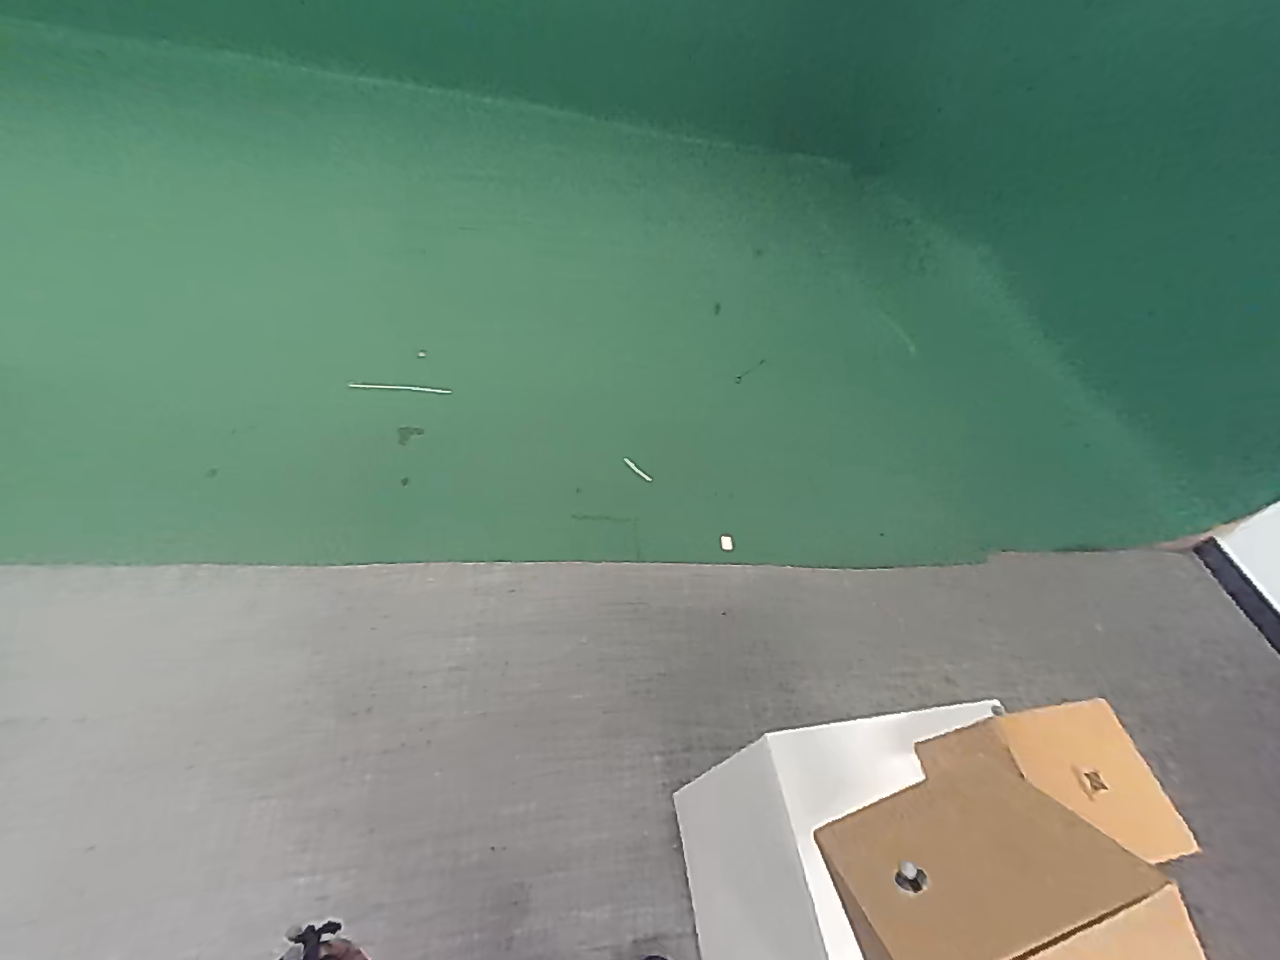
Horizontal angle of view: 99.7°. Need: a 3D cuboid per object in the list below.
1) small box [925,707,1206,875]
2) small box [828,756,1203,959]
[{"bbox_3d":[0.504,0.397,0.672,0.179,0.176,0.168,-3,54,-13],"label":"small box"},{"bbox_3d":[0.263,0.346,0.397,0.179,0.176,0.168,-24,91,-5],"label":"small box"}]
